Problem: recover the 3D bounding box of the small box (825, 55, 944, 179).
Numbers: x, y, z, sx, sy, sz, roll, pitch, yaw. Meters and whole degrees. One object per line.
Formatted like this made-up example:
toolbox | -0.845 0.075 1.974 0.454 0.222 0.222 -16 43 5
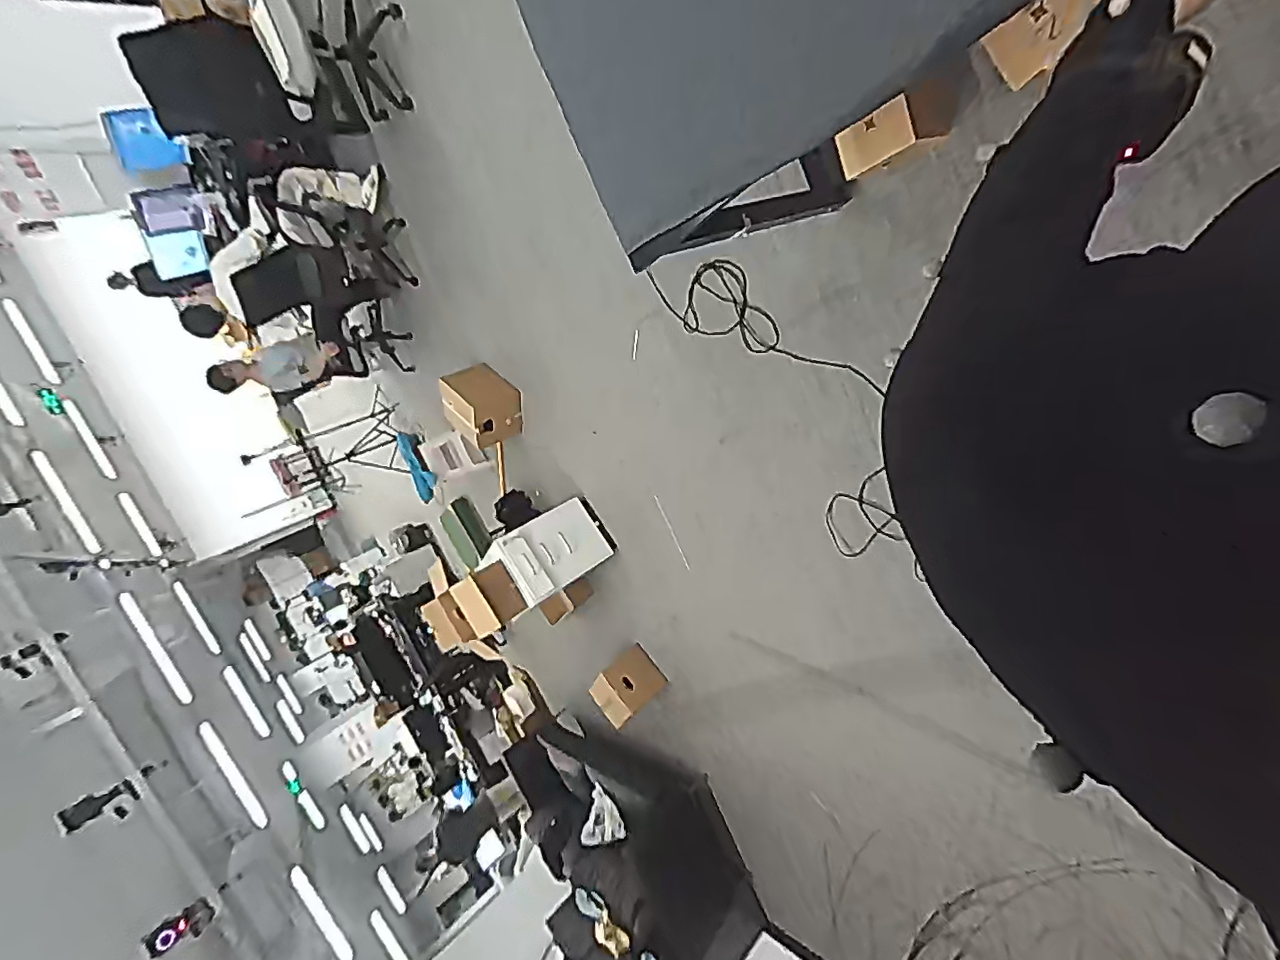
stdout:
small box | 0.553 -0.812 1.214 0.168 0.176 0.179 -5 110 54
